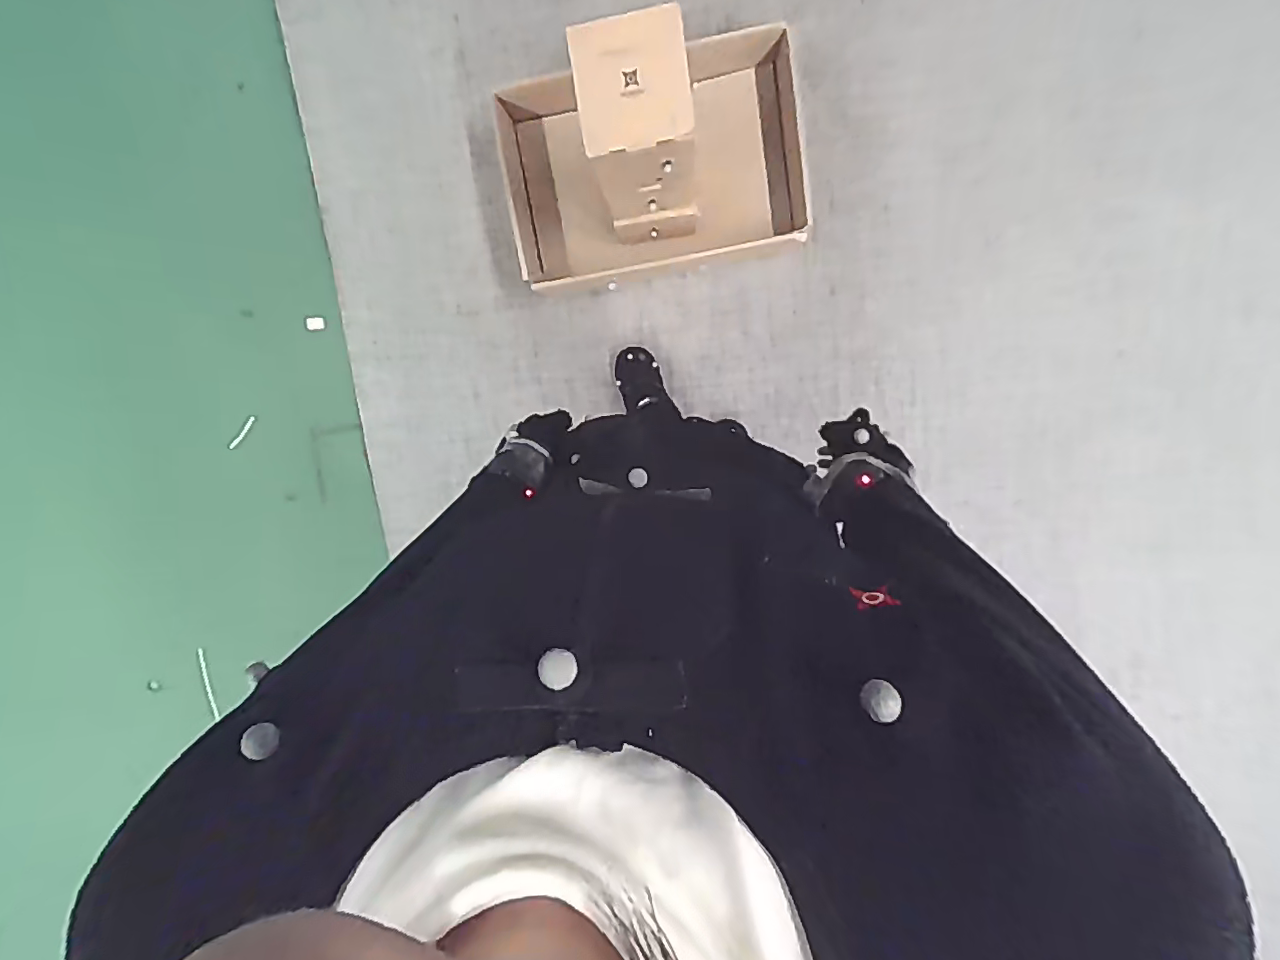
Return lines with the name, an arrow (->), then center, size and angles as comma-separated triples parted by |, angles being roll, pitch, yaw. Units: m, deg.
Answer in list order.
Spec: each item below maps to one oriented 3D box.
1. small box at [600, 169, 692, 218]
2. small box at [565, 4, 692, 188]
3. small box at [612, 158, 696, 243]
small box -> 0.006, -0.622, 1.033 | 0.168, 0.176, 0.179 | -10, 99, 8
small box -> -0.009, -0.586, 0.856 | 0.168, 0.176, 0.179 | -8, 99, 5
small box -> 0.028, -0.636, 1.192 | 0.179, 0.176, 0.168 | -5, 99, 7
